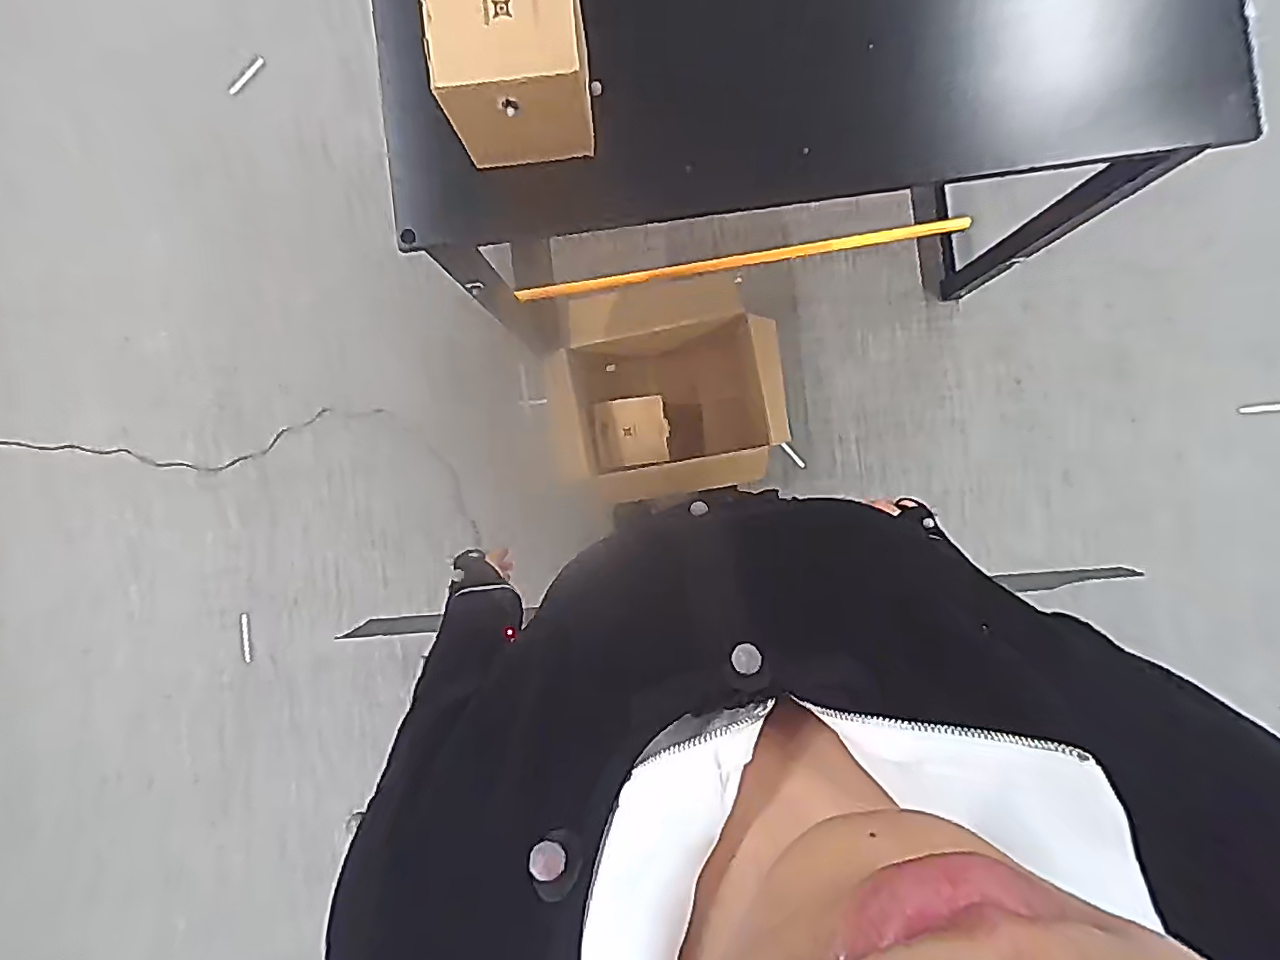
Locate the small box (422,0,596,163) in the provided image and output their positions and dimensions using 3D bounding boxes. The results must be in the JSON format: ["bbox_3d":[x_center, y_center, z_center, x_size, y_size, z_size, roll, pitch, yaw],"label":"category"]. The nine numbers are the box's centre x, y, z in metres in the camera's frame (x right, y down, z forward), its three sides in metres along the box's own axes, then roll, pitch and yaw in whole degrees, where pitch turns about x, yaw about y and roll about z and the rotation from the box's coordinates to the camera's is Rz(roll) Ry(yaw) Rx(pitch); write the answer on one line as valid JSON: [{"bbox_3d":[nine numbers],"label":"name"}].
[{"bbox_3d":[-0.159,-0.536,0.693,0.179,0.176,0.168,-6,91,1],"label":"small box"}]
